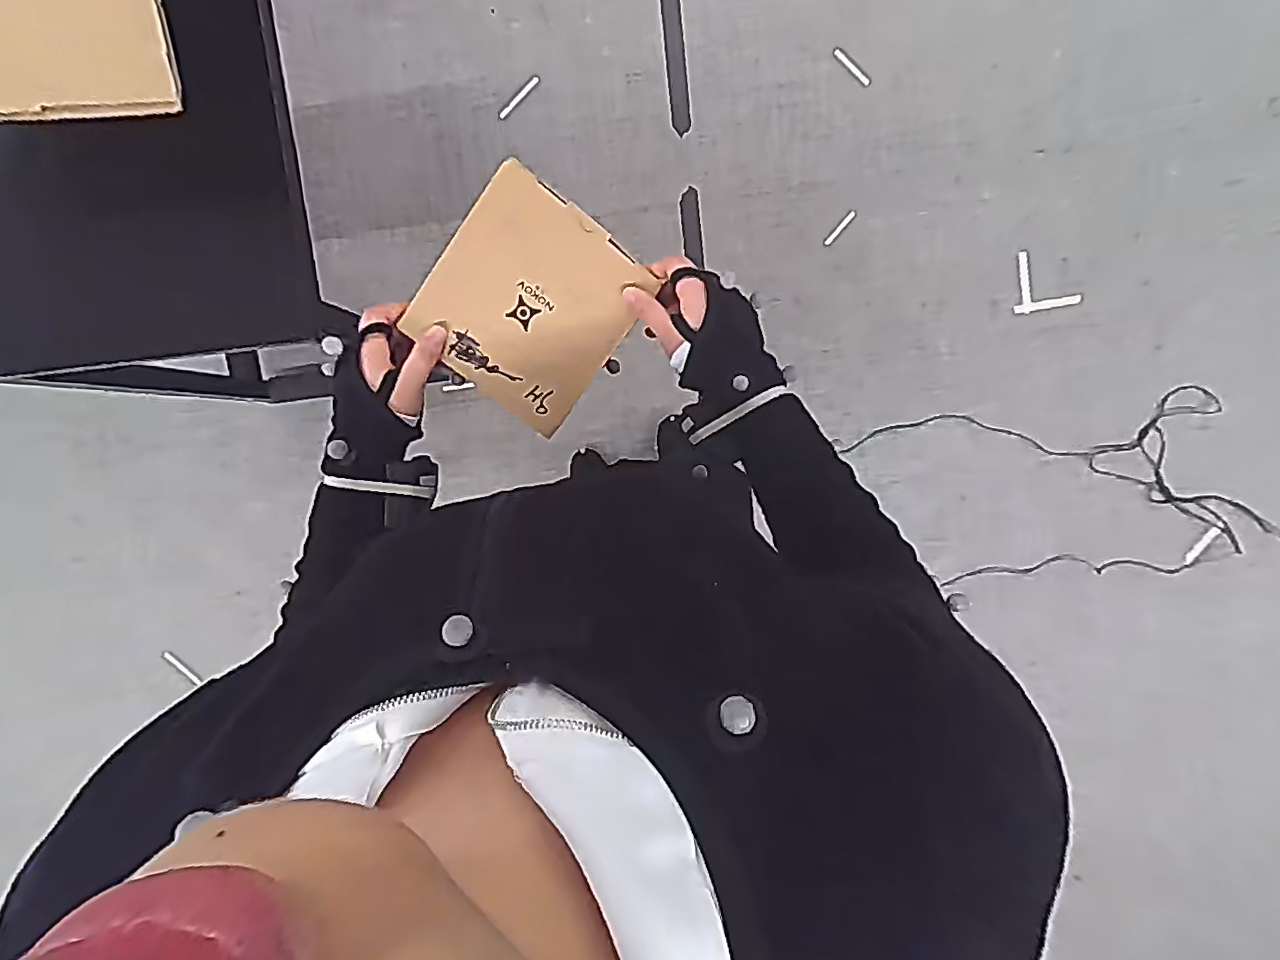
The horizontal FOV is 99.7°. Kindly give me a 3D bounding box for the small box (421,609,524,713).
[{"bbox_3d":[-0.389,0.426,1.298,0.179,0.176,0.168,-14,94,4],"label":"small box"}]
